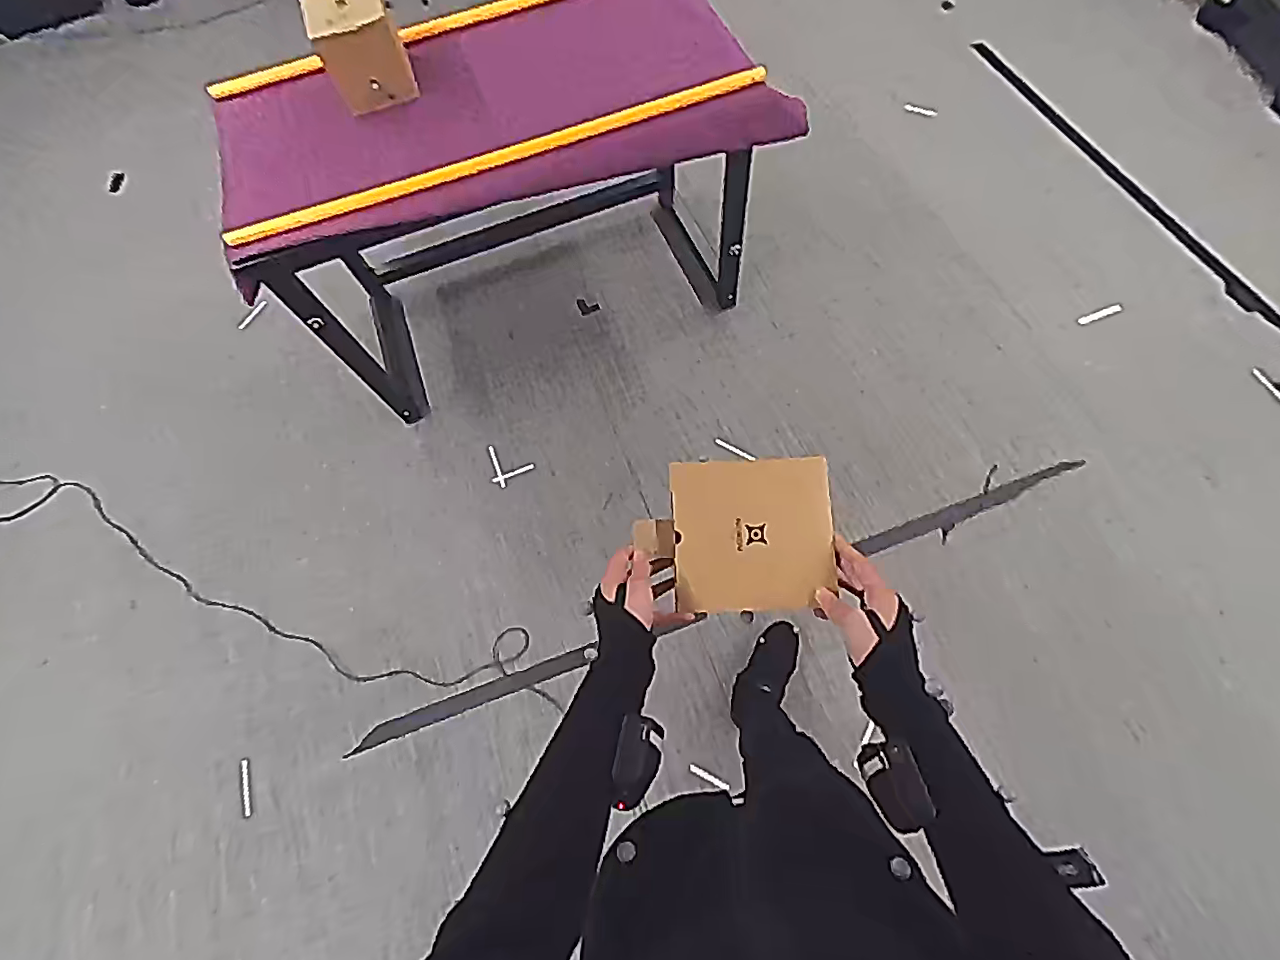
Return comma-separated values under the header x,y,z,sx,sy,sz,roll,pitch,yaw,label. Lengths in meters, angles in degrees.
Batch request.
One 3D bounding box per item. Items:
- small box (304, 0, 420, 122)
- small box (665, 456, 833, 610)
x,y,z,sx,sy,sz,roll,pitch,yaw,label
-0.629,-0.970,1.237,0.168,0.176,0.179,-20,70,-3,small box
0.124,0.067,0.671,0.179,0.176,0.168,-4,81,5,small box
